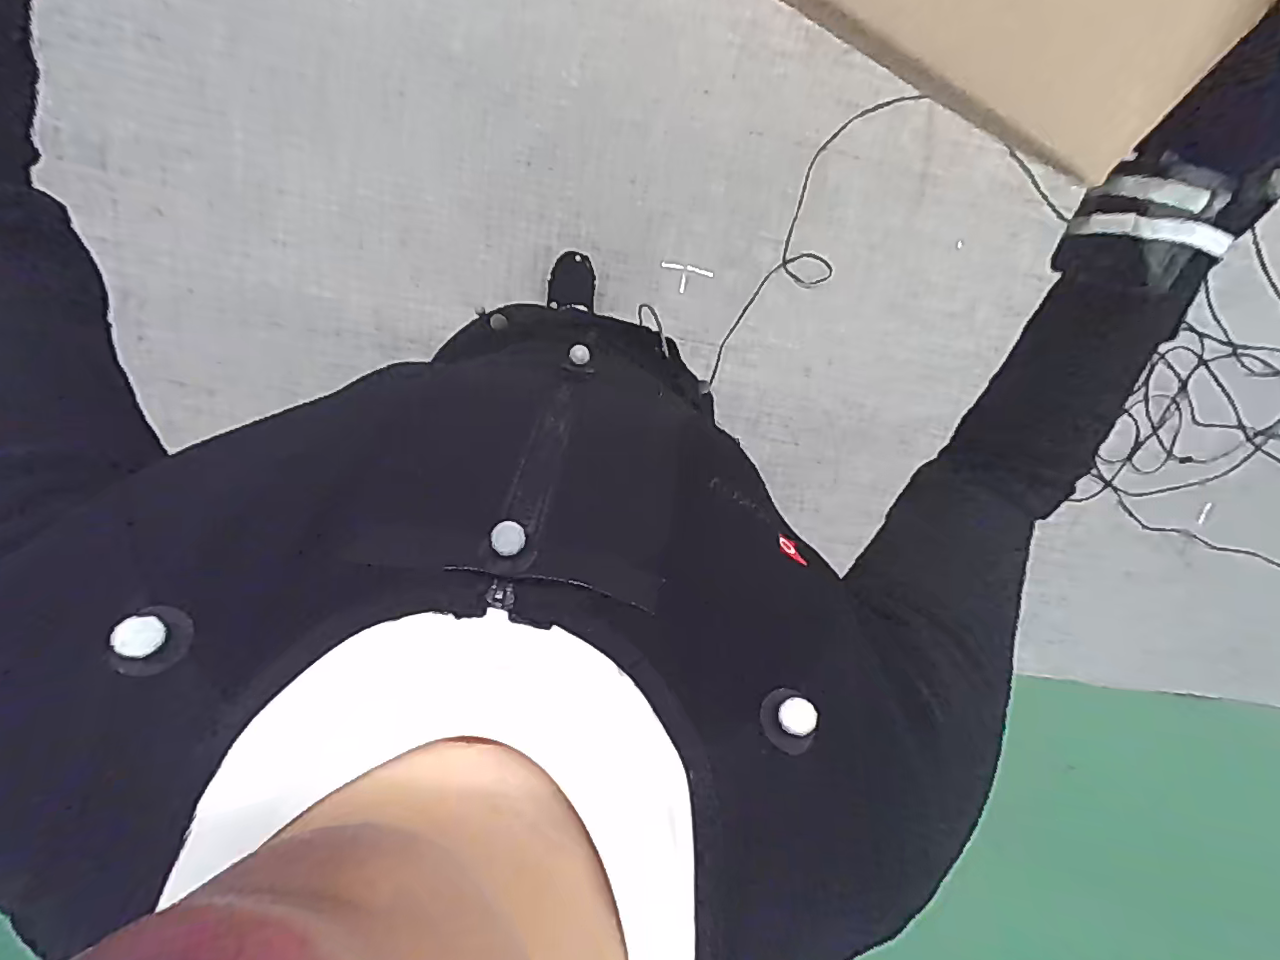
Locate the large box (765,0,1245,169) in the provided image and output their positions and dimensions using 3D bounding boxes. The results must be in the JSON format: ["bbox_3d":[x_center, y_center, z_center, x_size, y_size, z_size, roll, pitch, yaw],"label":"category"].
[{"bbox_3d":[0.107,-0.409,0.217,0.408,0.320,0.320,14,134,-22],"label":"large box"}]
